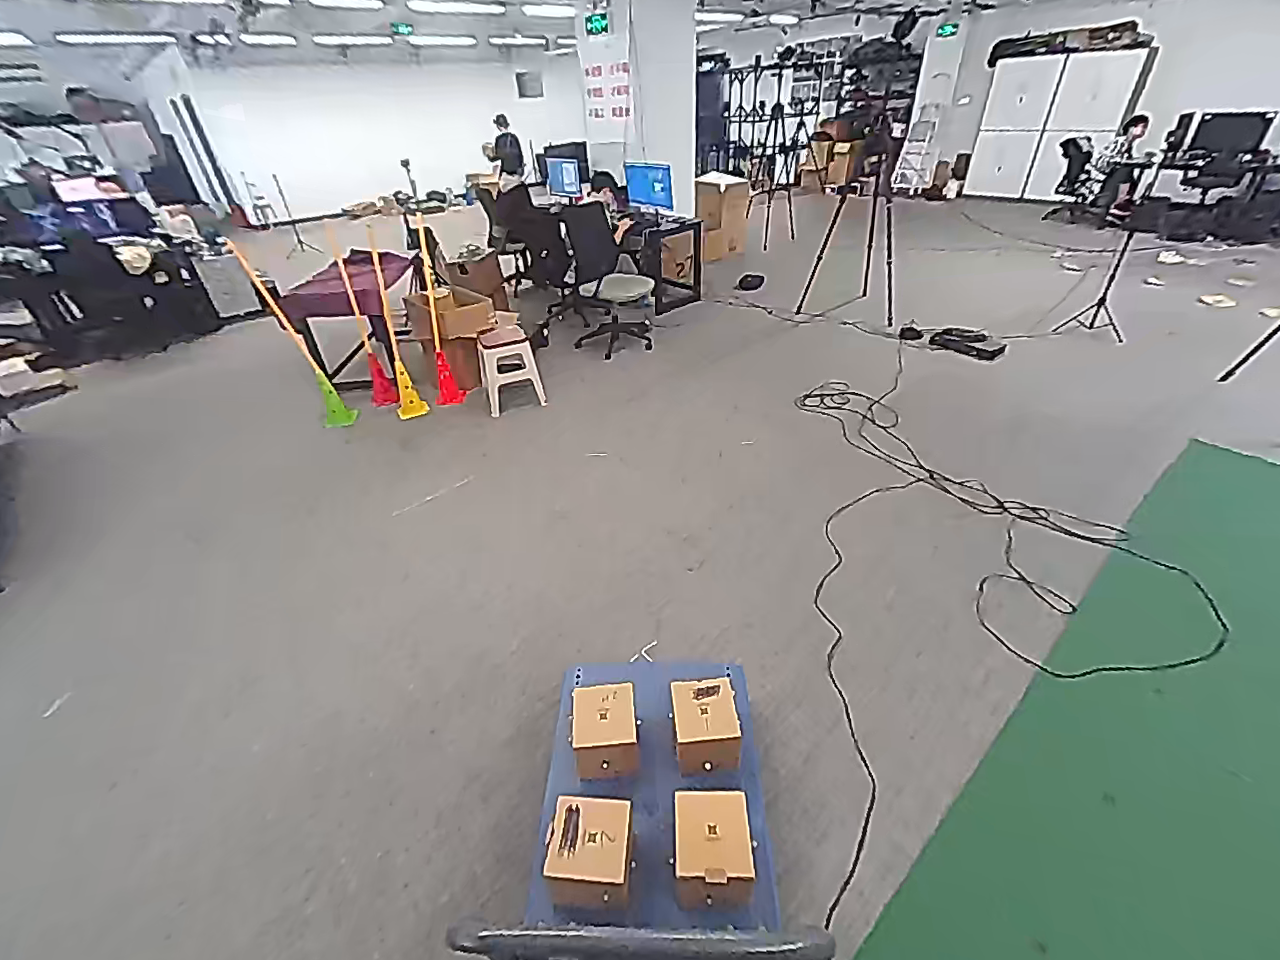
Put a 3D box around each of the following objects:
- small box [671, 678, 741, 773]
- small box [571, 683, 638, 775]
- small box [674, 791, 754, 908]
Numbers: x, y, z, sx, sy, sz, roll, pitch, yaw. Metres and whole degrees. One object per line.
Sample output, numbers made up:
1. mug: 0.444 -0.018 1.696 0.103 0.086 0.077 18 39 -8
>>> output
1. small box: 0.174 0.672 1.481 0.168 0.176 0.179 -5 36 -1
2. small box: -0.095 0.686 1.482 0.168 0.176 0.179 -4 35 -2
3. small box: 0.163 0.846 1.242 0.168 0.176 0.179 -1 36 3
